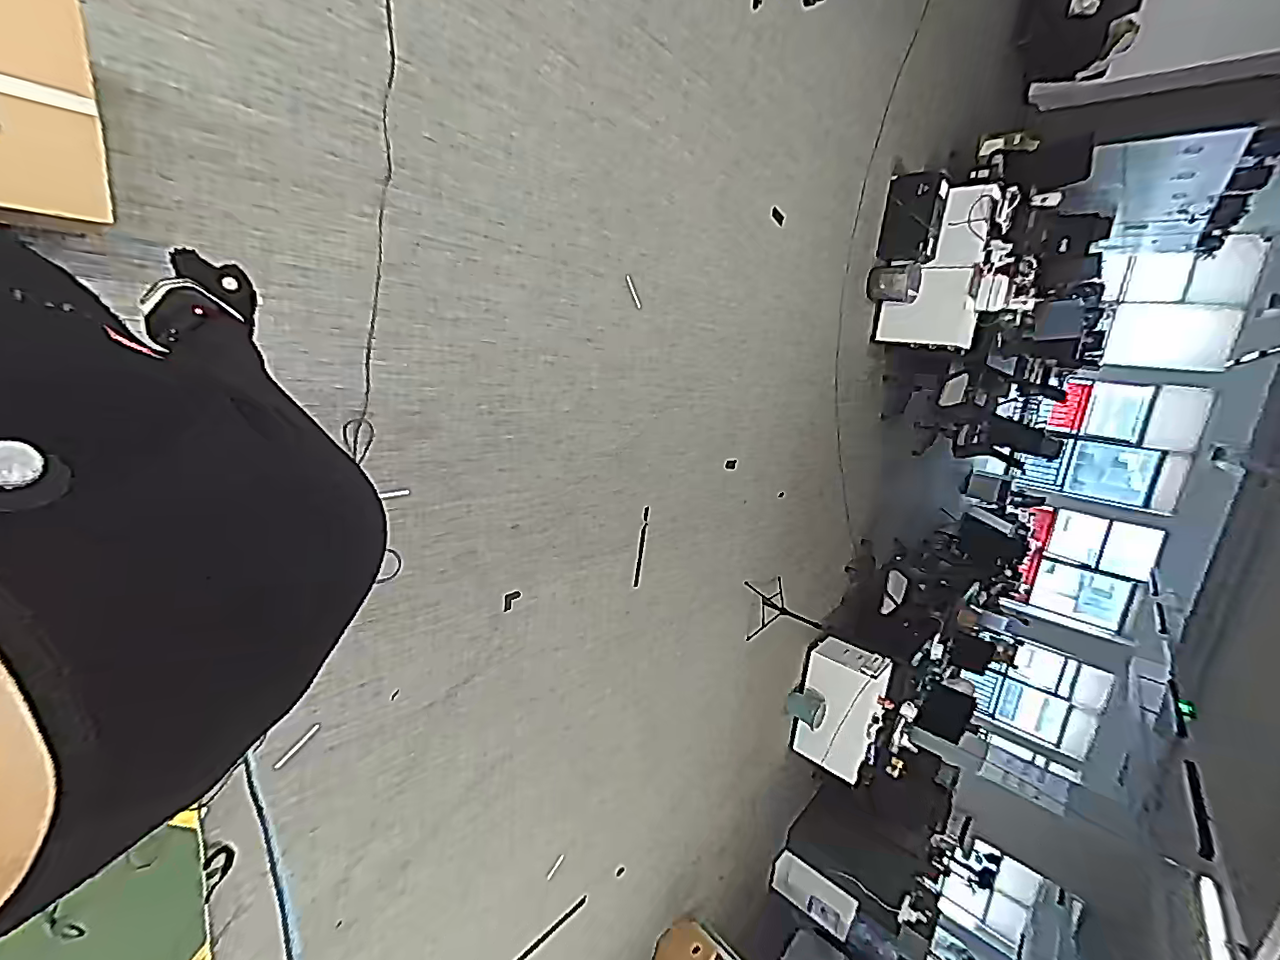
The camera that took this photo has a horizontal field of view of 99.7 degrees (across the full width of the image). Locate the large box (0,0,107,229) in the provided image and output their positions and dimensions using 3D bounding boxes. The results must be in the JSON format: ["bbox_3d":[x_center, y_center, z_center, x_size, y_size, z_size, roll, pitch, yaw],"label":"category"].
[{"bbox_3d":[-1.055,-0.555,0.740,0.408,0.320,0.320,-13,113,-48],"label":"large box"}]
